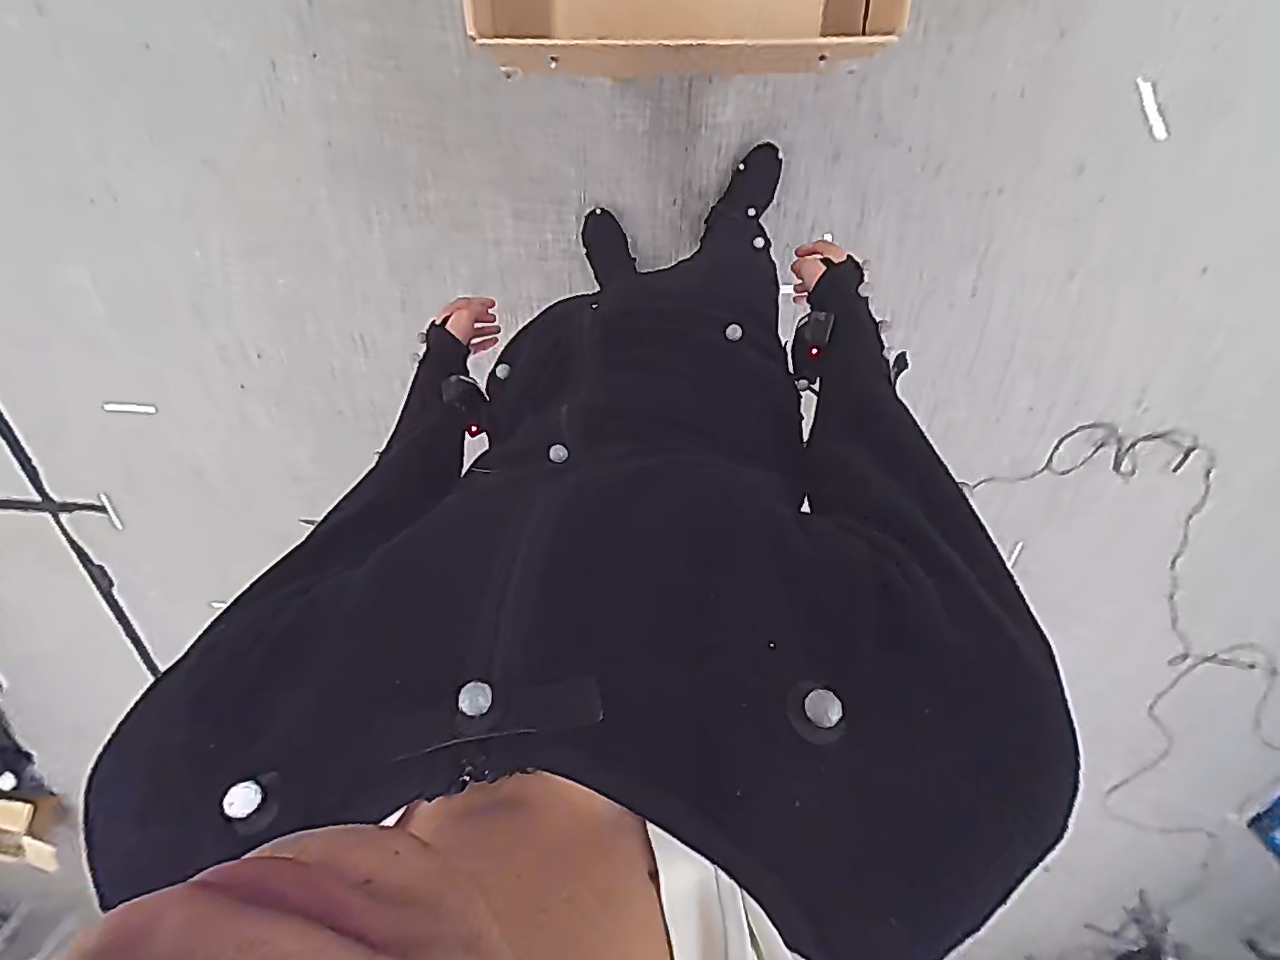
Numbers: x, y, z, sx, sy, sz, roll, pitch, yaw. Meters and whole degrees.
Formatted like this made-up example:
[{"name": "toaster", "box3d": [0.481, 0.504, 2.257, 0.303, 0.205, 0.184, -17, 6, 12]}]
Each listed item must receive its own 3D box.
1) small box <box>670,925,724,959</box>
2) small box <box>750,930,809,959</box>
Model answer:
[{"name": "small box", "box3d": [0.187, 1.594, 1.767, 0.168, 0.176, 0.179, -1, 121, 0]}, {"name": "small box", "box3d": [0.461, 1.611, 1.772, 0.168, 0.176, 0.179, 2, 122, 0]}]
